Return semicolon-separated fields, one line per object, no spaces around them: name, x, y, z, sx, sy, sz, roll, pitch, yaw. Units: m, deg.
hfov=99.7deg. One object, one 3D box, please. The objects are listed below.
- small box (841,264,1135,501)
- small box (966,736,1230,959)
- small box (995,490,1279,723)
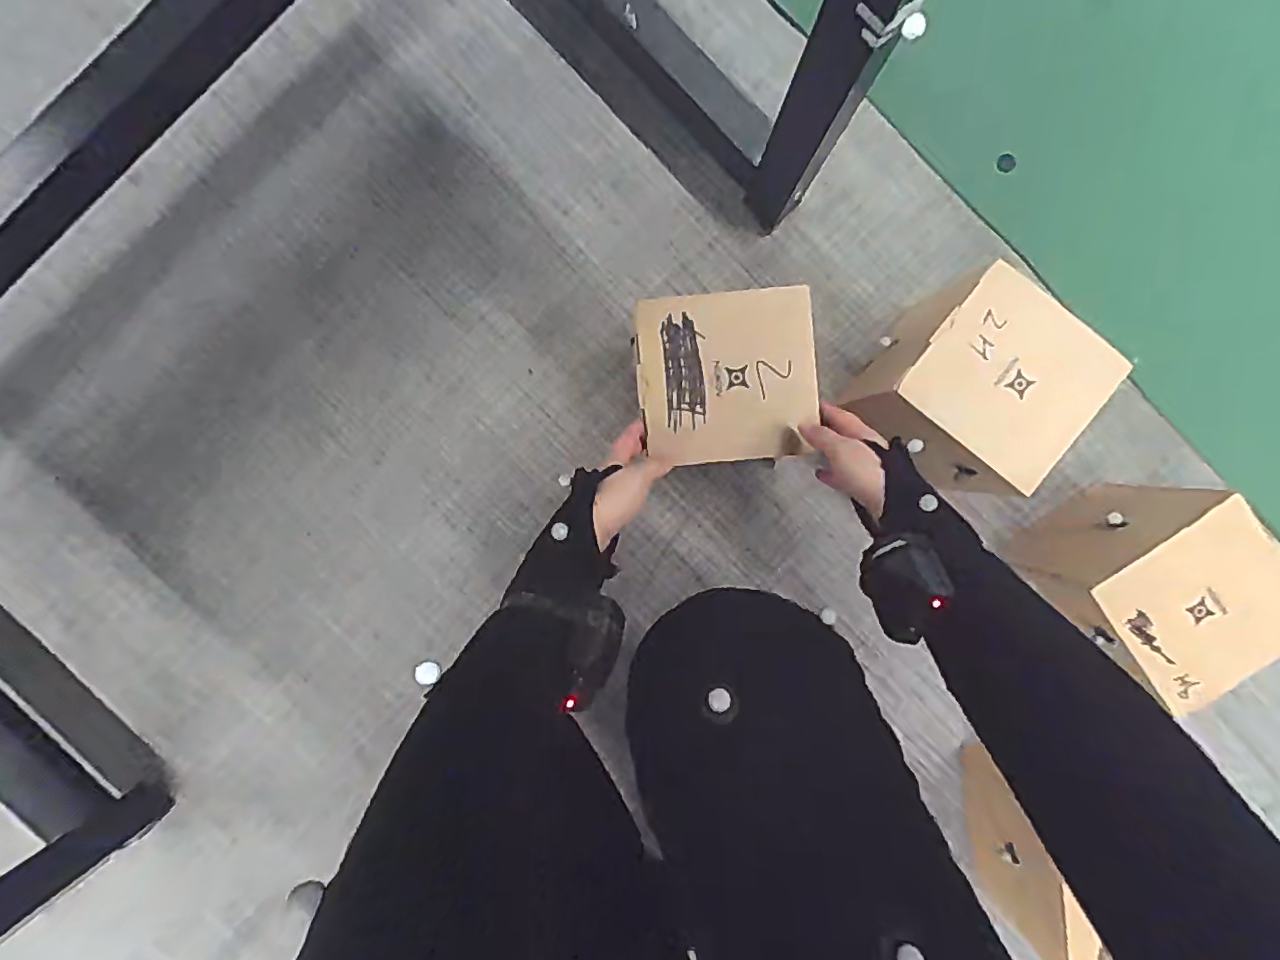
small box;0.365;-0.098;0.604;0.179;0.176;0.168;38;92;-1
small box;0.509;0.428;0.625;0.168;0.176;0.179;-6;92;1
small box;0.561;0.124;0.611;0.179;0.176;0.168;-35;92;2
